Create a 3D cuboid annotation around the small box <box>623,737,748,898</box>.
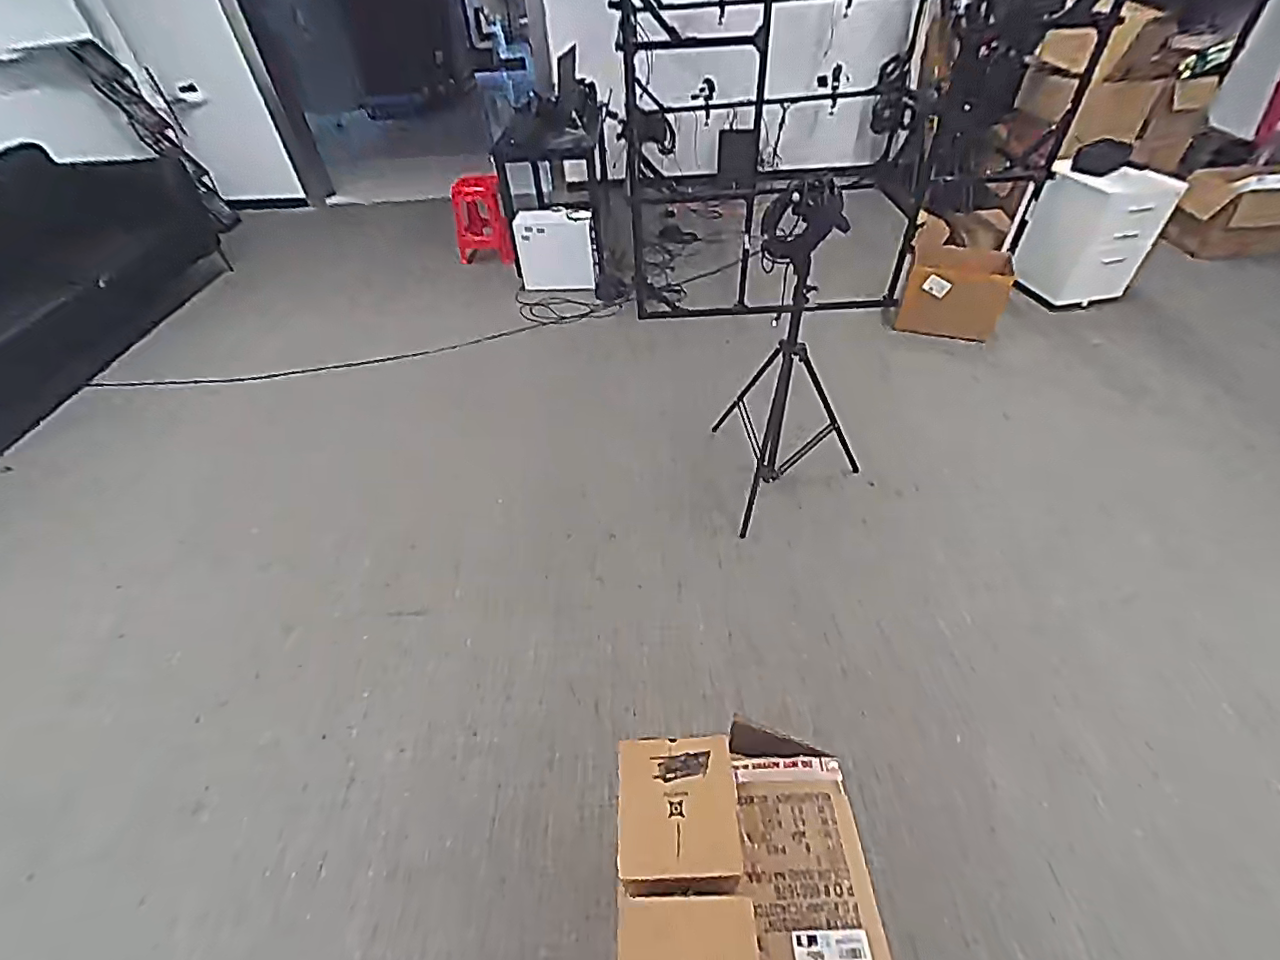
[{"bbox_3d":[0.063,0.509,0.816,0.168,0.176,0.179,-4,47,3],"label":"small box"}]
